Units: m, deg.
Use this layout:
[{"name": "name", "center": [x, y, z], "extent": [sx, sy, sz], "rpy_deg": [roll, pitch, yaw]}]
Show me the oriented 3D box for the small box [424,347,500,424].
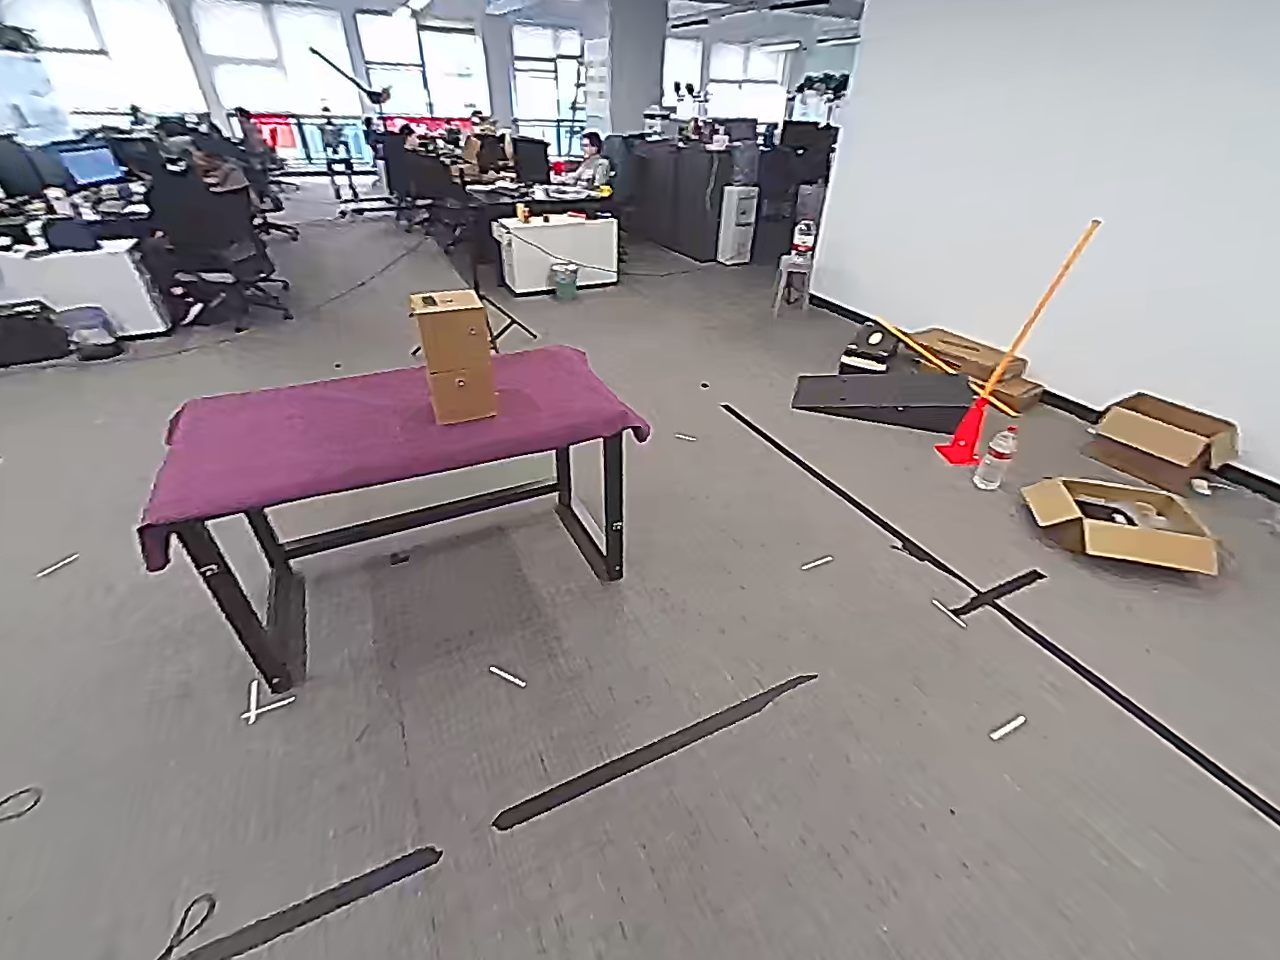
[{"name": "small box", "center": [-0.532, -0.281, 1.621], "extent": [0.179, 0.176, 0.168], "rpy_deg": [-13, 38, -21]}]
